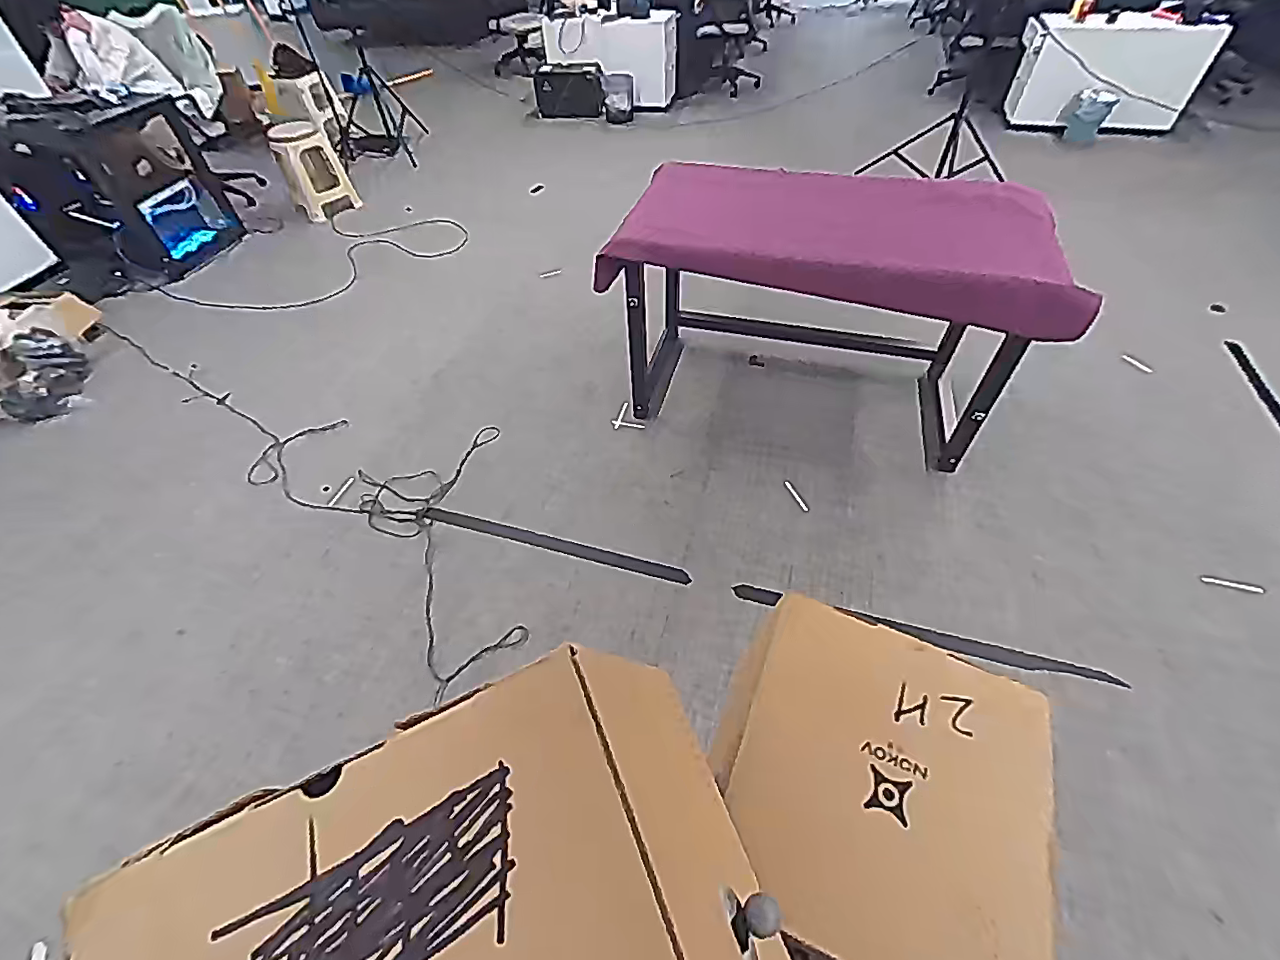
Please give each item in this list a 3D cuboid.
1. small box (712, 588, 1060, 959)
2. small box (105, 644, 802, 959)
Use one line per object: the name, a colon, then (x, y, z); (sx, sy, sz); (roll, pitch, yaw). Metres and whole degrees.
small box: (0.138, 0.209, 0.361); (0.168, 0.176, 0.179); (22, 55, 12)
small box: (-0.036, 0.183, 0.199); (0.168, 0.176, 0.179); (-27, 66, 2)
